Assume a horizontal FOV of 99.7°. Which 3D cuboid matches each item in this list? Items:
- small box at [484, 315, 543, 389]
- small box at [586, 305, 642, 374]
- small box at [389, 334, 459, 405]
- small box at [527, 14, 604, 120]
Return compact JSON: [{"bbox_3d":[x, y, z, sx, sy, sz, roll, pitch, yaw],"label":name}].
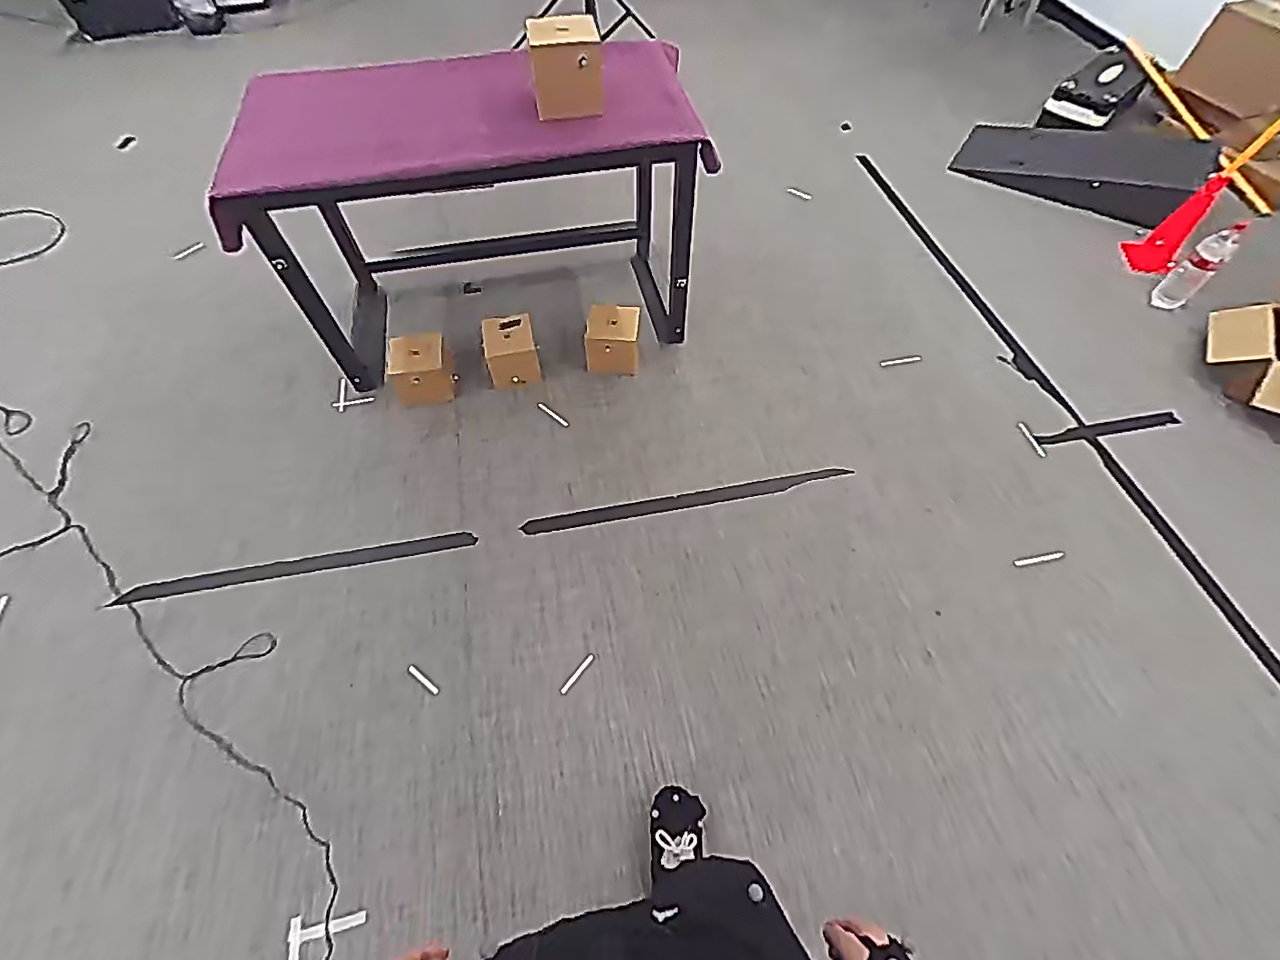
[{"bbox_3d":[-0.438,-0.444,1.884,0.168,0.176,0.179,-11,60,-6],"label":"small box"},{"bbox_3d":[-0.086,-0.493,1.913,0.179,0.176,0.168,4,59,4],"label":"small box"},{"bbox_3d":[-0.733,-0.373,1.847,0.179,0.176,0.168,-8,60,-5],"label":"small box"},{"bbox_3d":[-0.190,-1.075,1.412,0.179,0.176,0.168,-9,58,-4],"label":"small box"}]
